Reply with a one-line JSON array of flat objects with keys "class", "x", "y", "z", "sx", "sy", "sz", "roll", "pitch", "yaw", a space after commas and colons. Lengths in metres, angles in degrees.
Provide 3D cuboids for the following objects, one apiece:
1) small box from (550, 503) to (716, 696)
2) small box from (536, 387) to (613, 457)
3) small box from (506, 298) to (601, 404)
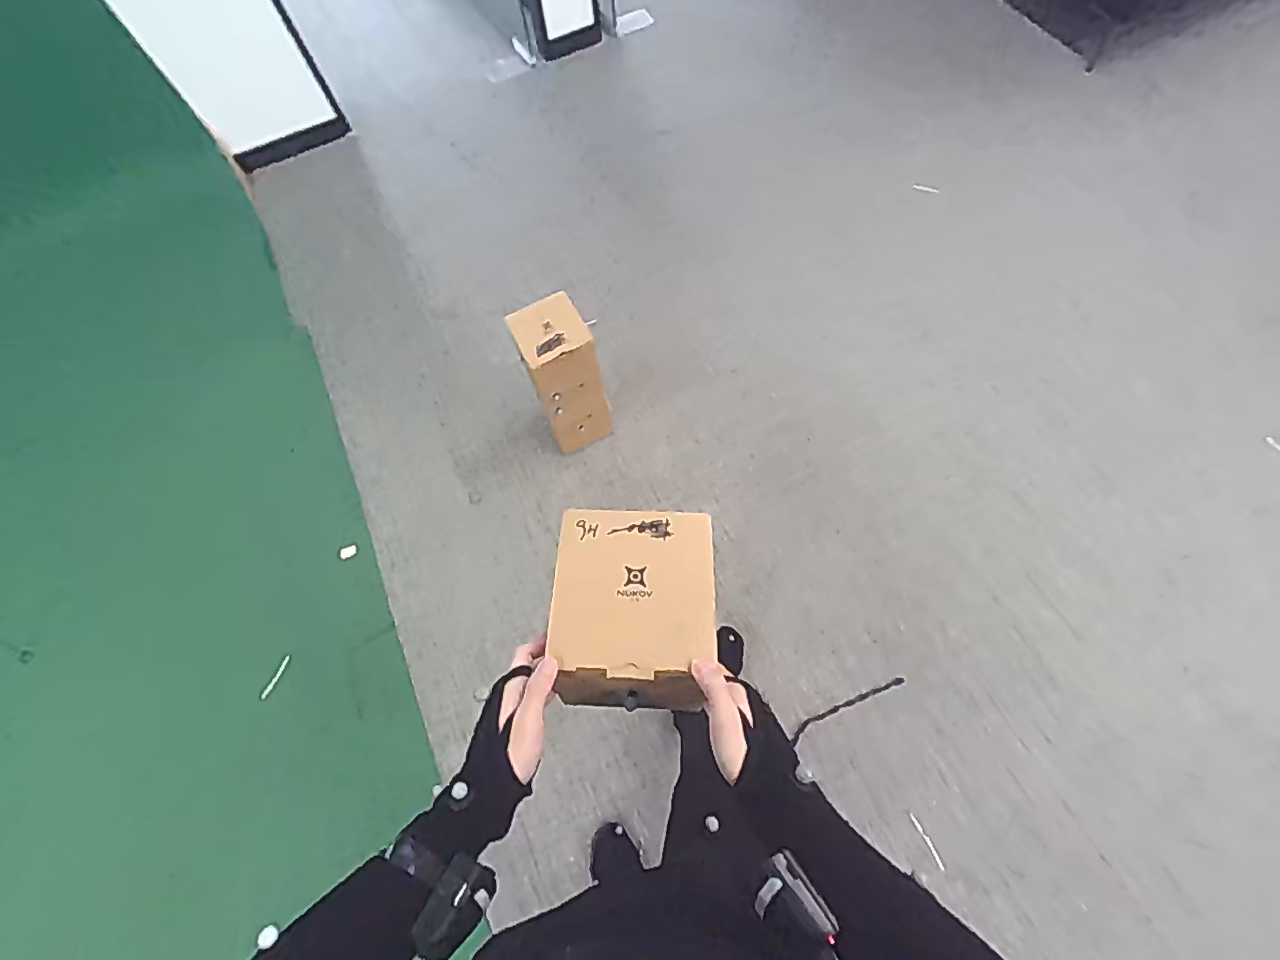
[{"class": "small box", "x": -0.001, "y": 0.145, "z": 0.631, "sx": 0.168, "sy": 0.176, "sz": 0.179, "roll": 2, "pitch": 57, "yaw": 1}, {"class": "small box", "x": -0.198, "y": -0.196, "z": 1.676, "sx": 0.179, "sy": 0.176, "sz": 0.168, "roll": -25, "pitch": 68, "yaw": -8}, {"class": "small box", "x": -0.212, "y": -0.316, "z": 1.370, "sx": 0.168, "sy": 0.176, "sz": 0.179, "roll": -27, "pitch": 67, "yaw": -8}]
